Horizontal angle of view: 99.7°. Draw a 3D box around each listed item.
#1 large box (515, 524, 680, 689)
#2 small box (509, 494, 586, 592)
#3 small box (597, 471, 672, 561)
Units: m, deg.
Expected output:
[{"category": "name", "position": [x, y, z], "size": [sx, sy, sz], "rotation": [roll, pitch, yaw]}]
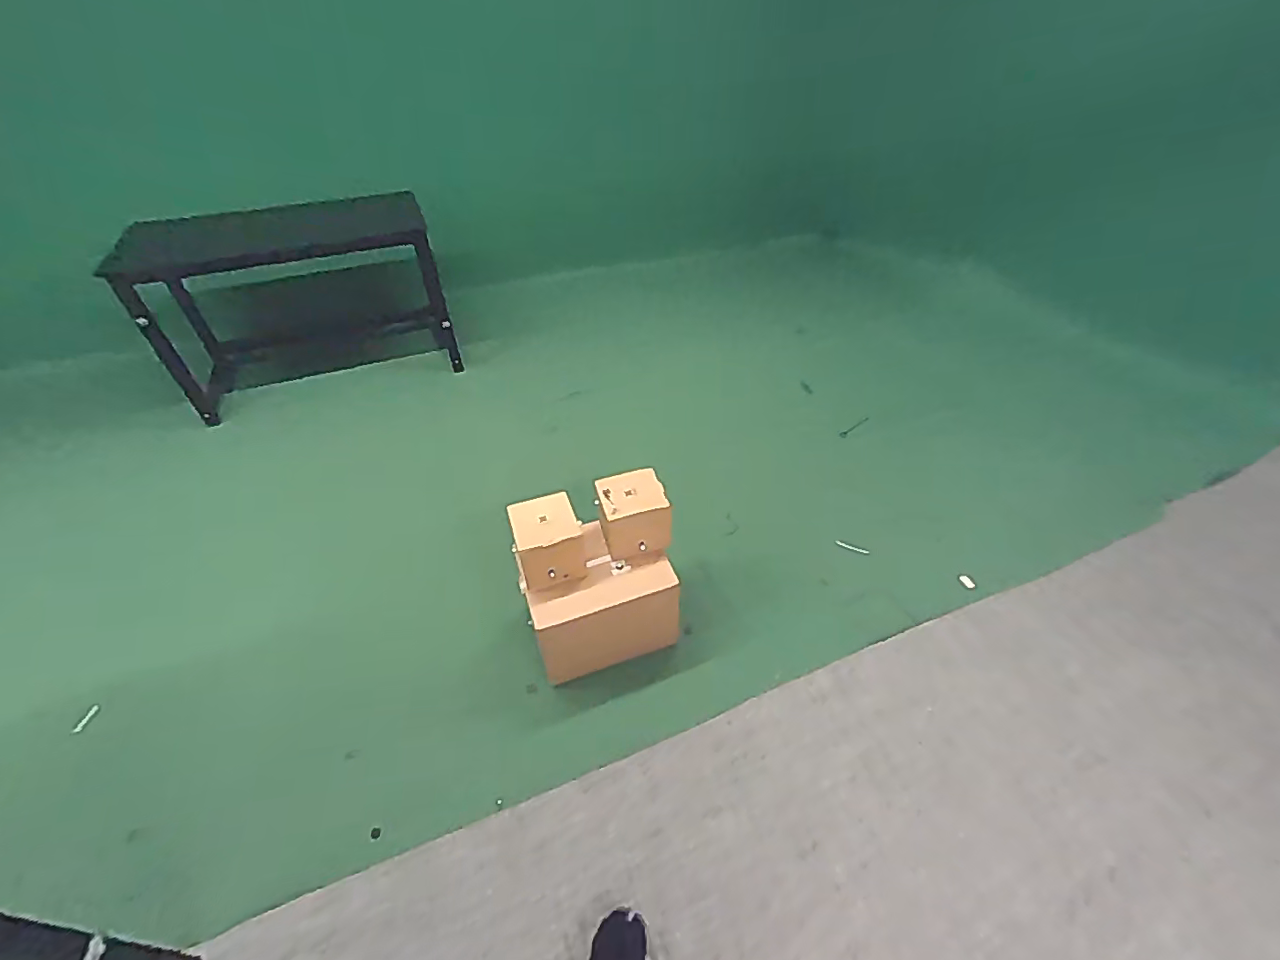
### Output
[{"category": "large box", "position": [-0.126, 0.355, 1.616], "size": [0.408, 0.320, 0.320], "rotation": [-15, 45, -15]}, {"category": "small box", "position": [-0.249, 0.171, 1.461], "size": [0.168, 0.176, 0.179], "rotation": [-15, 44, -15]}, {"category": "small box", "position": [-0.018, 0.102, 1.526], "size": [0.179, 0.176, 0.168], "rotation": [-12, 43, -11]}]
